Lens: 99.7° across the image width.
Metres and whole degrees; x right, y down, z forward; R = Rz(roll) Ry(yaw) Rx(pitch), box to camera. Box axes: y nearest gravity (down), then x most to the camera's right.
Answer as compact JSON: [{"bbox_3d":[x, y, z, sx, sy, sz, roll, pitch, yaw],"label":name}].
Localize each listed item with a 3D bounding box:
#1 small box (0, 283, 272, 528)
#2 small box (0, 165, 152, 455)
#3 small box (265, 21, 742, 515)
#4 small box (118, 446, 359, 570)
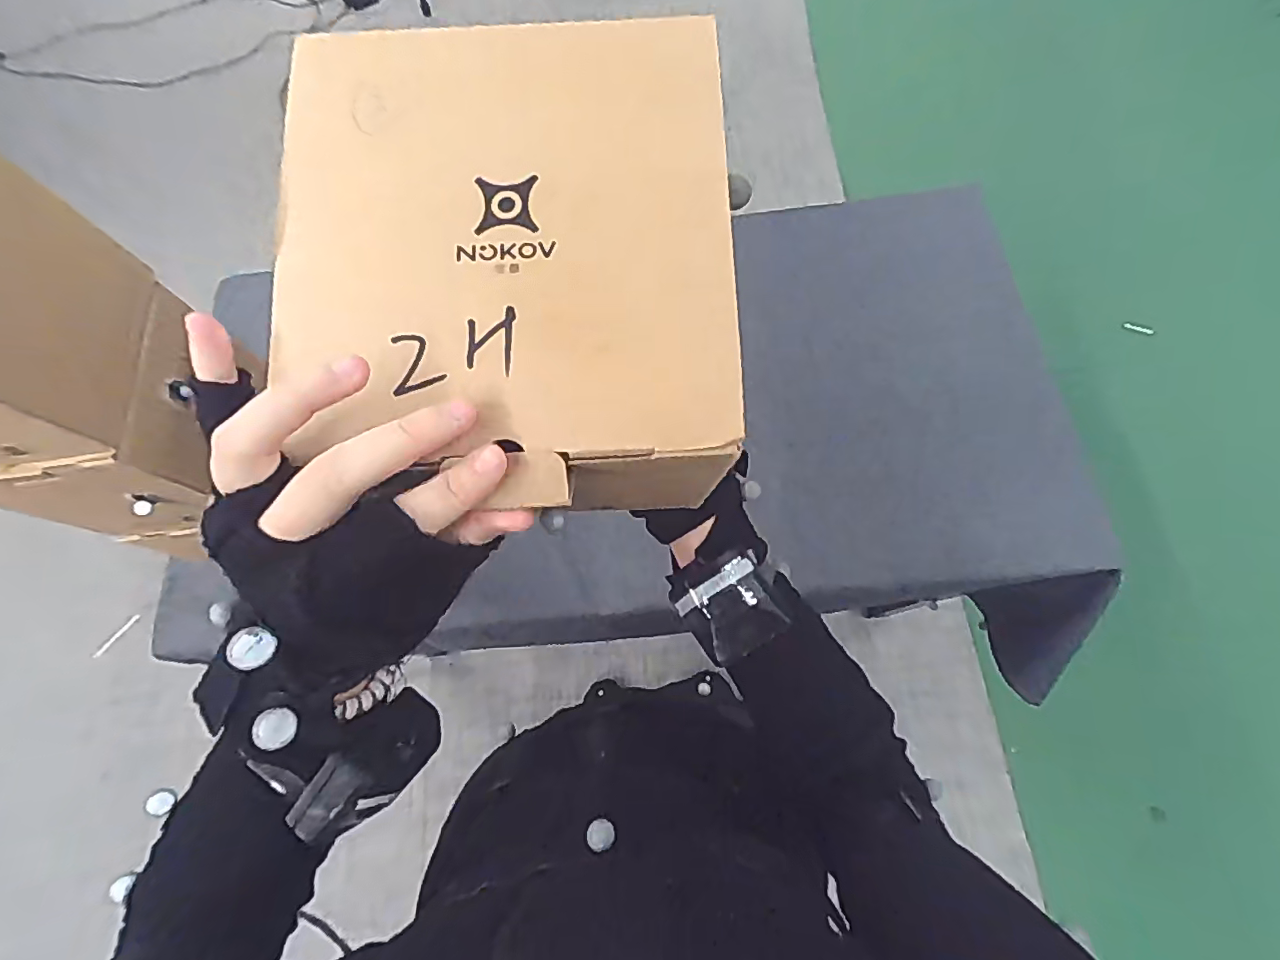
[{"bbox_3d":[-0.485,-0.057,0.524,0.168,0.176,0.179,-7,69,1],"label":"small box"},{"bbox_3d":[-0.497,-0.120,0.373,0.168,0.176,0.179,-8,69,0],"label":"small box"},{"bbox_3d":[-0.047,-0.080,0.277,0.168,0.176,0.179,-2,80,1],"label":"small box"},{"bbox_3d":[-0.476,0.003,0.675,0.168,0.176,0.179,-8,70,1],"label":"small box"}]
